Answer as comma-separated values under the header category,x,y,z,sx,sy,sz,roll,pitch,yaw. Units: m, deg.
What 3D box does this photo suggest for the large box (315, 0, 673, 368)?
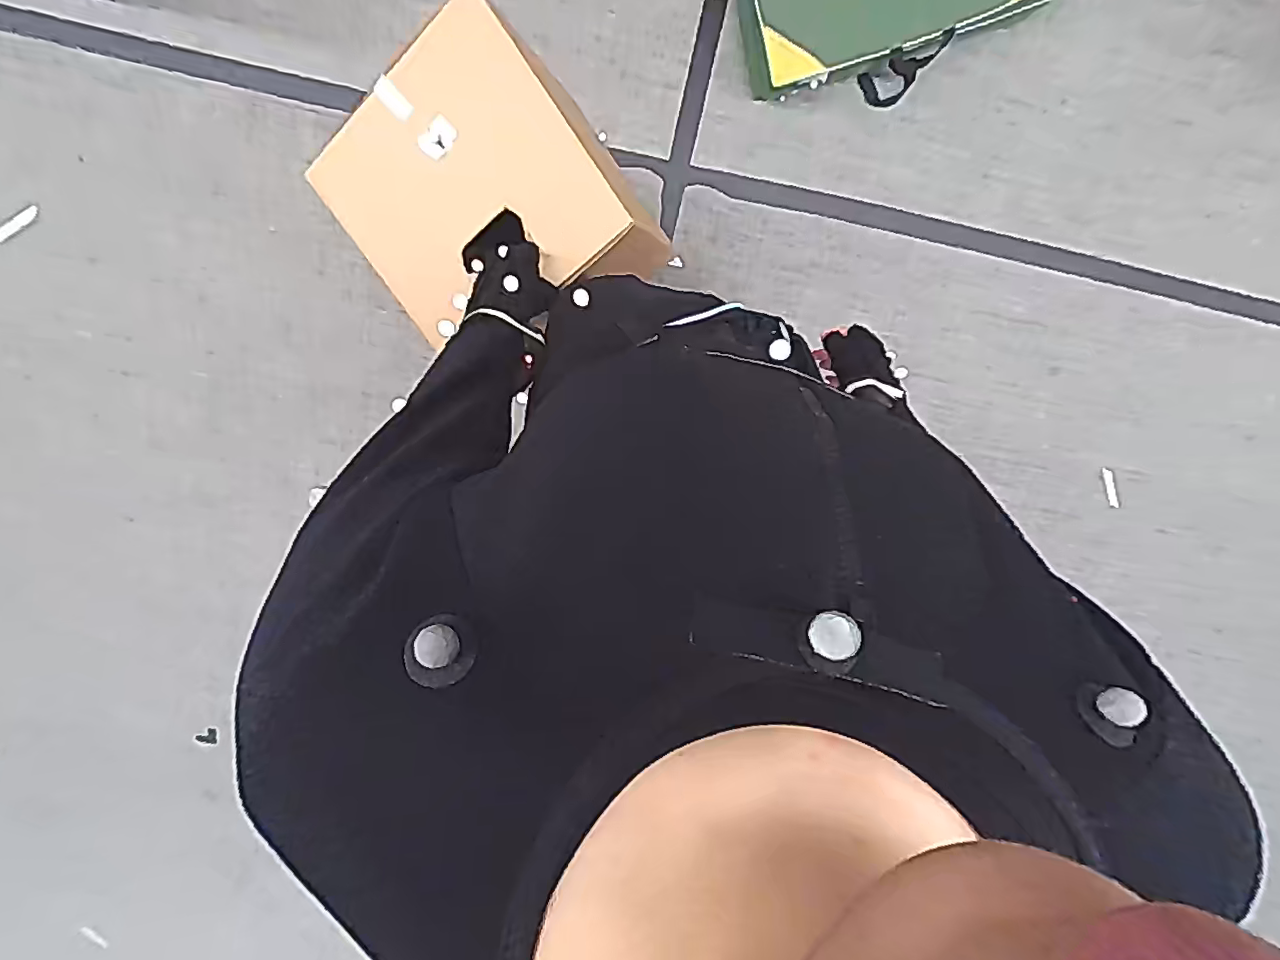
category,x,y,z,sx,sy,sz,roll,pitch,yaw
large box,-0.185,-0.410,0.852,0.320,0.408,0.320,-31,99,19
